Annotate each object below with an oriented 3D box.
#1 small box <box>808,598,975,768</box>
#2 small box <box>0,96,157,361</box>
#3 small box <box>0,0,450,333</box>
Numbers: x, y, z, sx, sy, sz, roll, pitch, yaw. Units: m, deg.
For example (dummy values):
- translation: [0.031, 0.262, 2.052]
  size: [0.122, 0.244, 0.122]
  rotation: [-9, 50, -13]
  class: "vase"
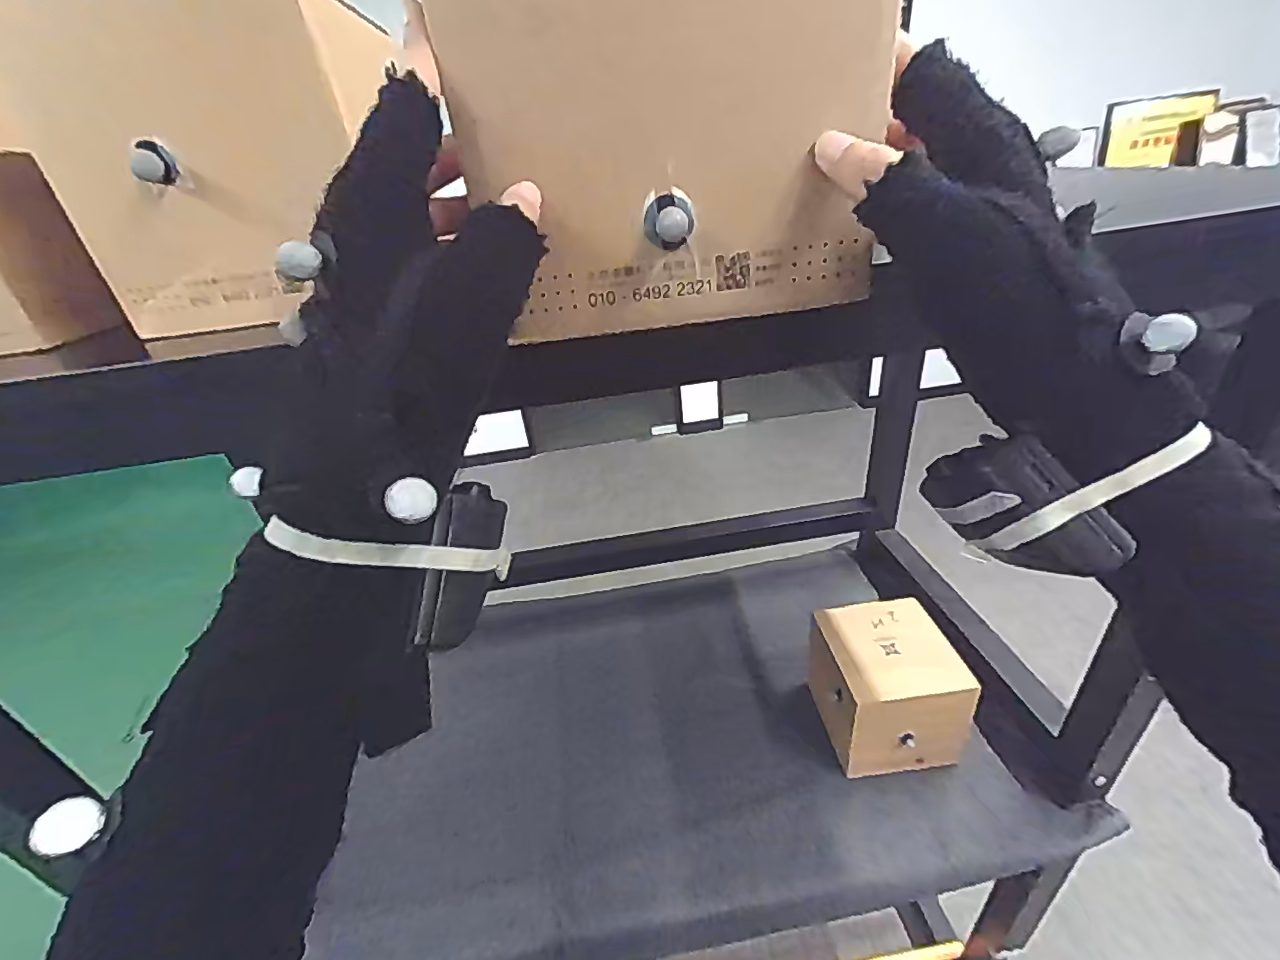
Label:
- translation: [0.361, 0.307, 0.813]
  size: [0.168, 0.176, 0.179]
  rotation: [-7, 30, 0]
  class: "small box"
- translation: [-0.474, -0.184, 0.380]
  size: [0.168, 0.176, 0.179]
  rotation: [-8, 31, -2]
  class: "small box"
- translation: [-0.249, -0.208, 0.378]
  size: [0.168, 0.176, 0.179]
  rotation: [-8, 30, -1]
  class: "small box"
